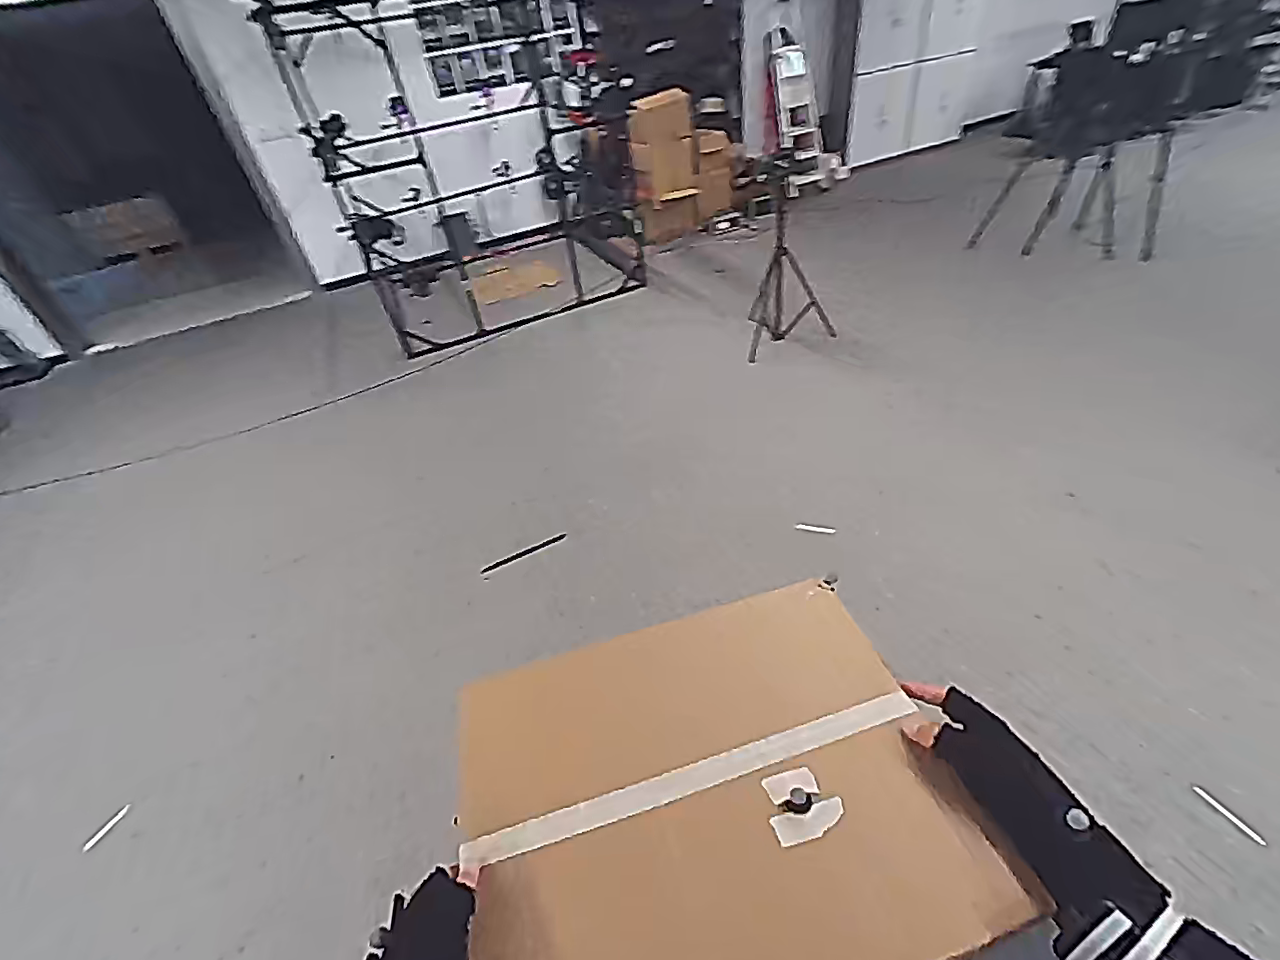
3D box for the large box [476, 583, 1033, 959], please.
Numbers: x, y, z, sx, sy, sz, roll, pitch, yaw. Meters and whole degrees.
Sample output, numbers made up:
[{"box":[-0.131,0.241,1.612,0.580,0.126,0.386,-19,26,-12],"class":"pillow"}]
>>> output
[{"box":[0.072,0.370,0.568,0.408,0.320,0.320,-14,41,-8],"class":"large box"}]
